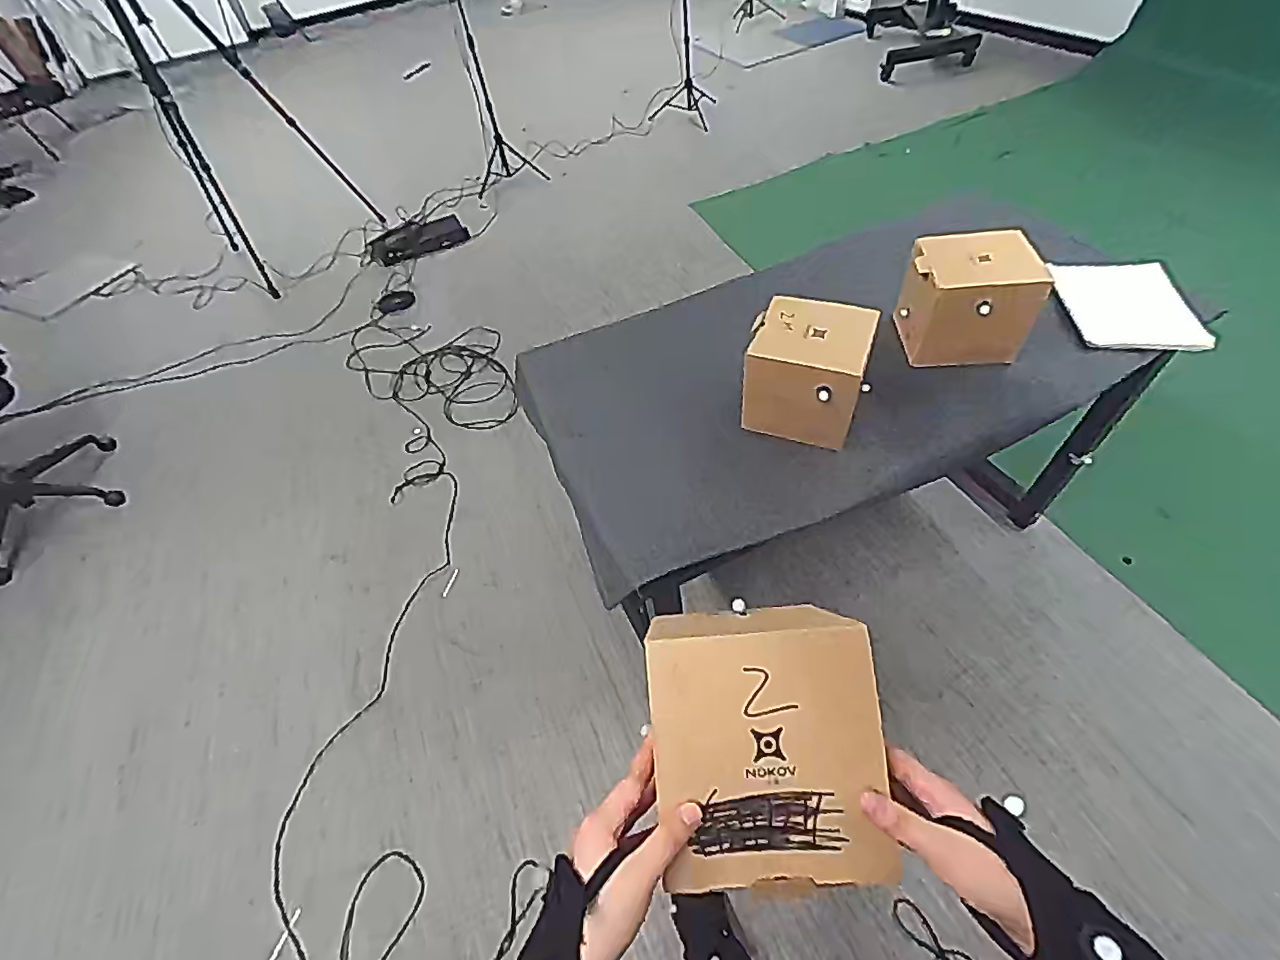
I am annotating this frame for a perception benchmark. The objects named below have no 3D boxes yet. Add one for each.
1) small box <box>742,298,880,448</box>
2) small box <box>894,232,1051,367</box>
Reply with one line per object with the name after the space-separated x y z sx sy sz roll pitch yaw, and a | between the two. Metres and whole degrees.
0.280 -0.177 0.910 0.179 0.176 0.168 16 55 20 | small box
0.585 -0.322 0.979 0.179 0.176 0.168 -1 52 9 | small box
